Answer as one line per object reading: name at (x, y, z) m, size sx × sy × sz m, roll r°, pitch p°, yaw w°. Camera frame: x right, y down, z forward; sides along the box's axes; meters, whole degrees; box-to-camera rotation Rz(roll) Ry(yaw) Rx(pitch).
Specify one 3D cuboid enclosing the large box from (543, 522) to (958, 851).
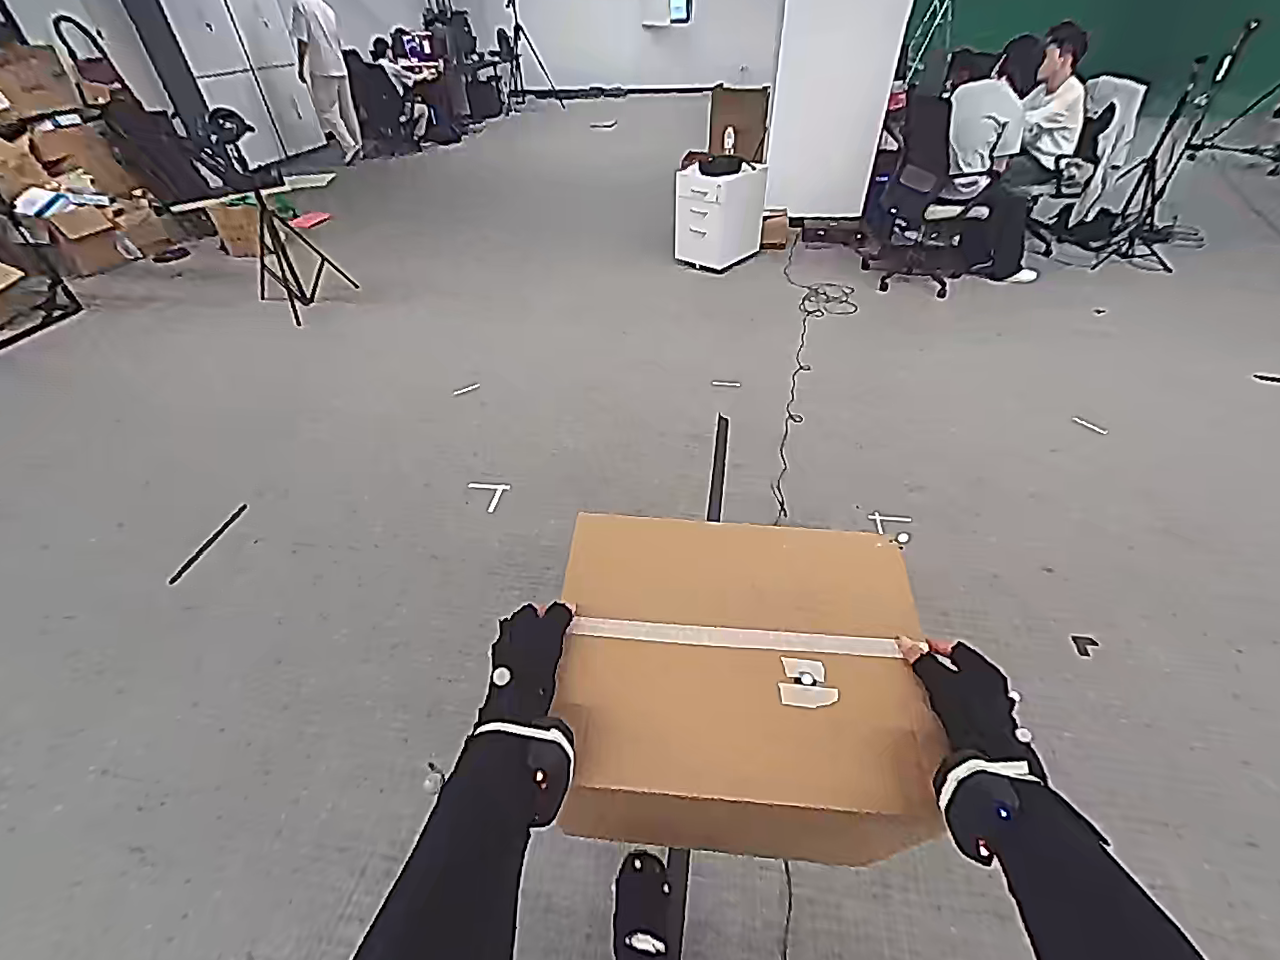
large box at (0.109, 0.277, 0.720) m, size 0.408 × 0.320 × 0.320 m, roll 3°, pitch 49°, yaw 3°
